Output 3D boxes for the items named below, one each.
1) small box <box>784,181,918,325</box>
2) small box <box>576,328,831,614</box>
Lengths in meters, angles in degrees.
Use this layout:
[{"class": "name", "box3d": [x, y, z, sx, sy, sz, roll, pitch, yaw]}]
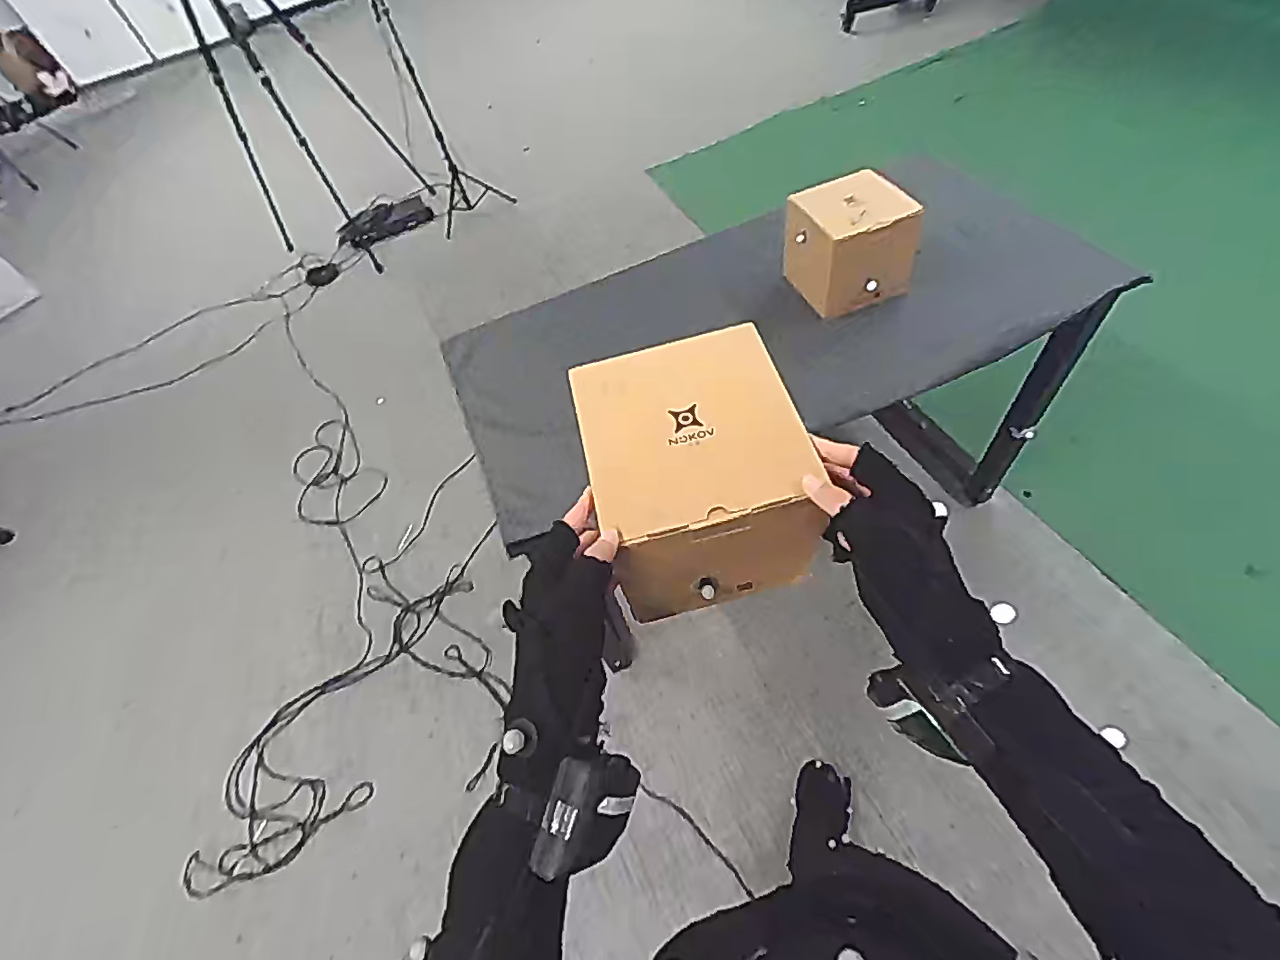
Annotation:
[{"class": "small box", "box3d": [0.384, -0.426, 1.024, 0.168, 0.176, 0.179, -20, 53, -2]}, {"class": "small box", "box3d": [0.049, -0.002, 0.491, 0.168, 0.176, 0.179, -15, 57, 0]}]
